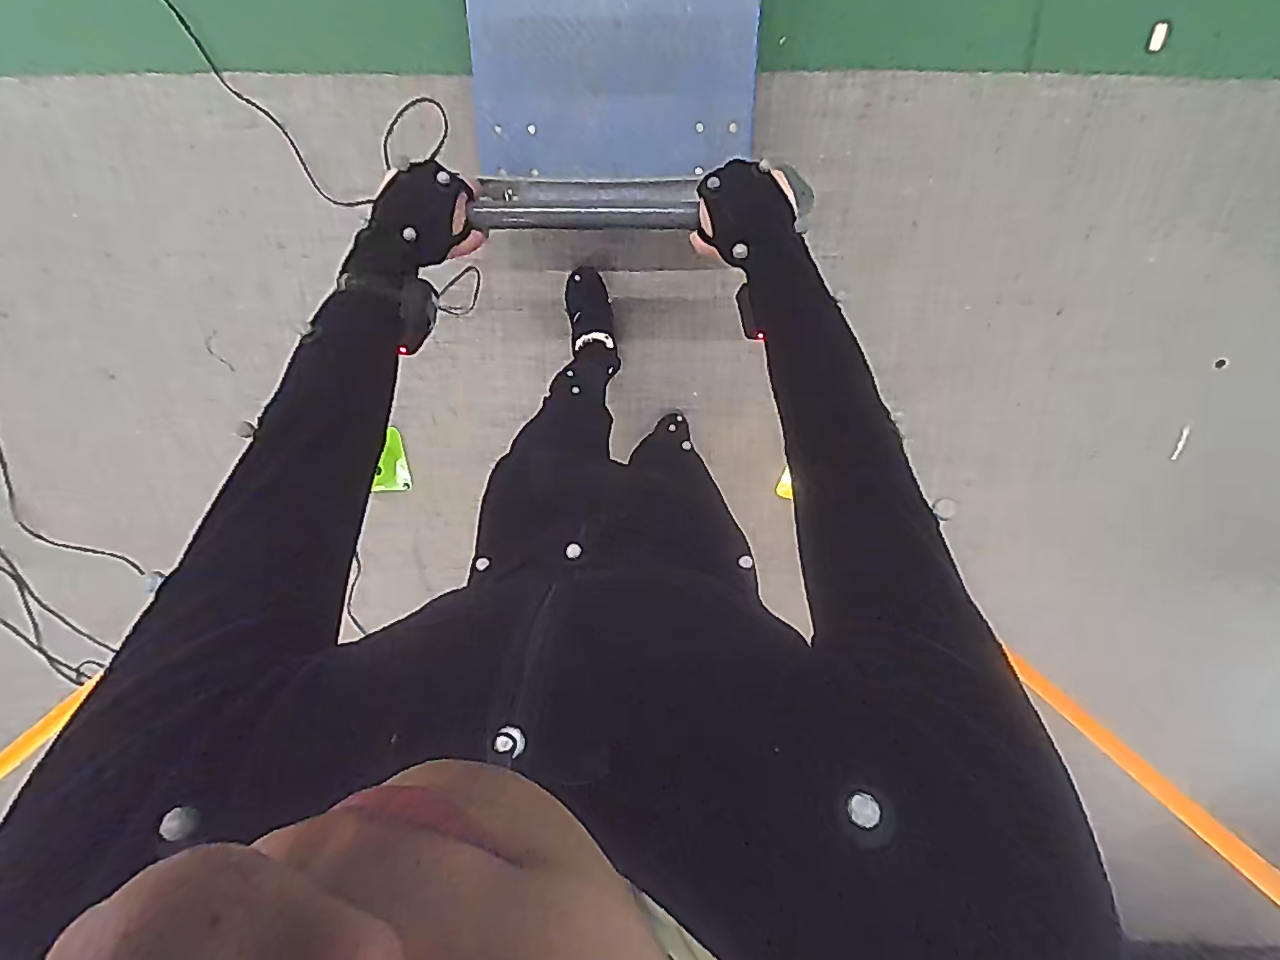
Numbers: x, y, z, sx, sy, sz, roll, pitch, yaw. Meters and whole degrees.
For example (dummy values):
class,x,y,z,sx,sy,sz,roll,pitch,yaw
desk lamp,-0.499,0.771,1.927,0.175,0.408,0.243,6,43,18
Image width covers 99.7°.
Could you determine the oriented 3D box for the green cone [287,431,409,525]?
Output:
class,x,y,z,sx,sy,sz,roll,pitch,yaw
green cone,-0.809,0.018,1.451,0.202,0.368,0.200,-3,112,4
